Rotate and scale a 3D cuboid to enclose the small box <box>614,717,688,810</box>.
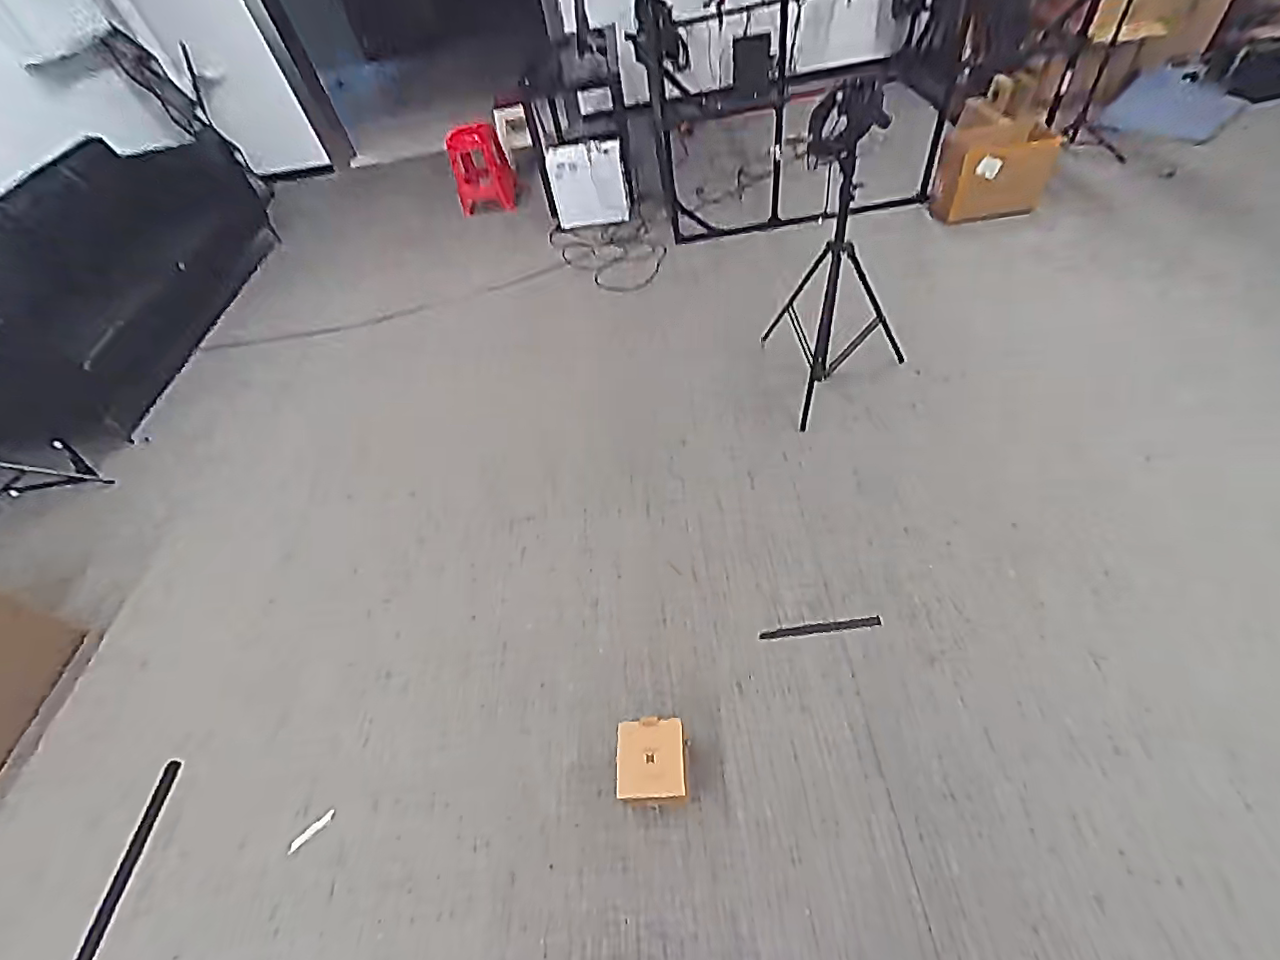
[{"bbox_3d":[0.031,0.724,1.378,0.168,0.176,0.179,-7,49,7],"label":"small box"}]
